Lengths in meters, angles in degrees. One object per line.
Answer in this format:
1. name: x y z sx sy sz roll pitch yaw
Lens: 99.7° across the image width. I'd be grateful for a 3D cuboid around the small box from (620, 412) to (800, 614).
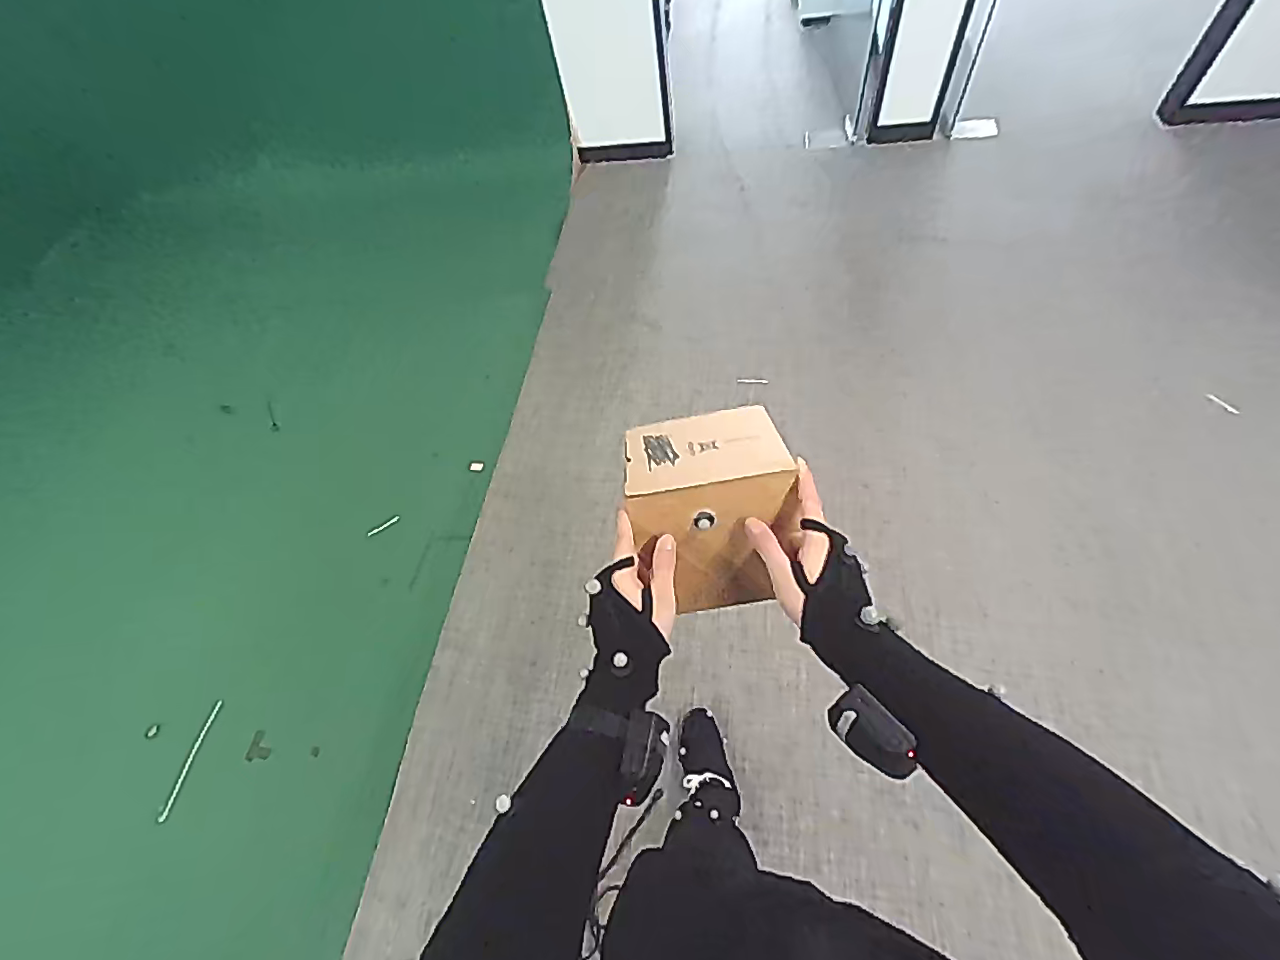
1. small box: 0.080 0.039 0.642 0.179 0.176 0.168 -10 28 4
